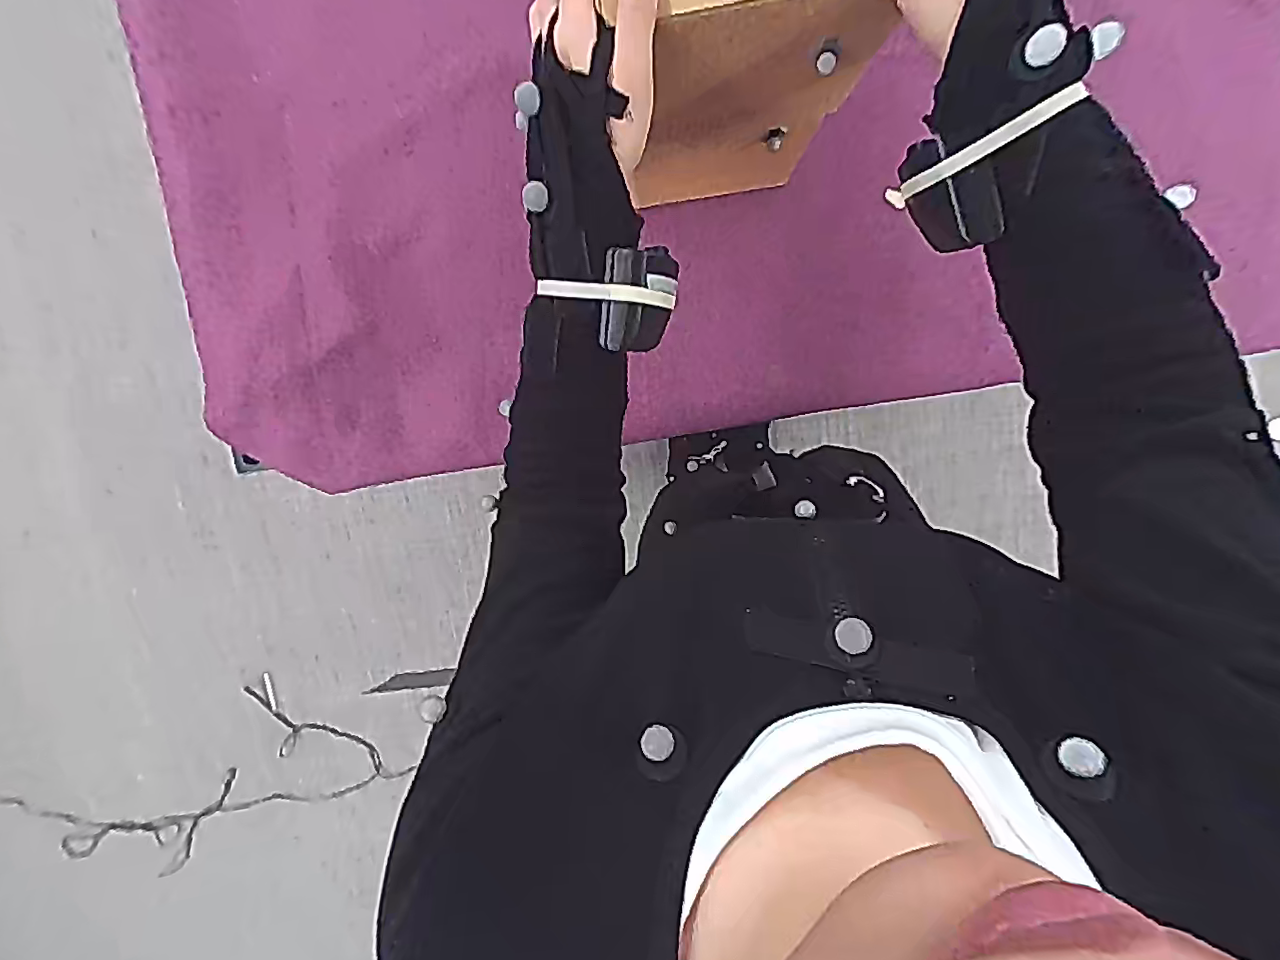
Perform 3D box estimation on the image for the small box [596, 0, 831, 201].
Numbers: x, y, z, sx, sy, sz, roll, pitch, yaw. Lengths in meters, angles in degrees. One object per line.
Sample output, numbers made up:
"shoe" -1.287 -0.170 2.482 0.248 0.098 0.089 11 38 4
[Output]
"small box" 0.059 -0.380 0.499 0.179 0.176 0.168 -8 99 3
